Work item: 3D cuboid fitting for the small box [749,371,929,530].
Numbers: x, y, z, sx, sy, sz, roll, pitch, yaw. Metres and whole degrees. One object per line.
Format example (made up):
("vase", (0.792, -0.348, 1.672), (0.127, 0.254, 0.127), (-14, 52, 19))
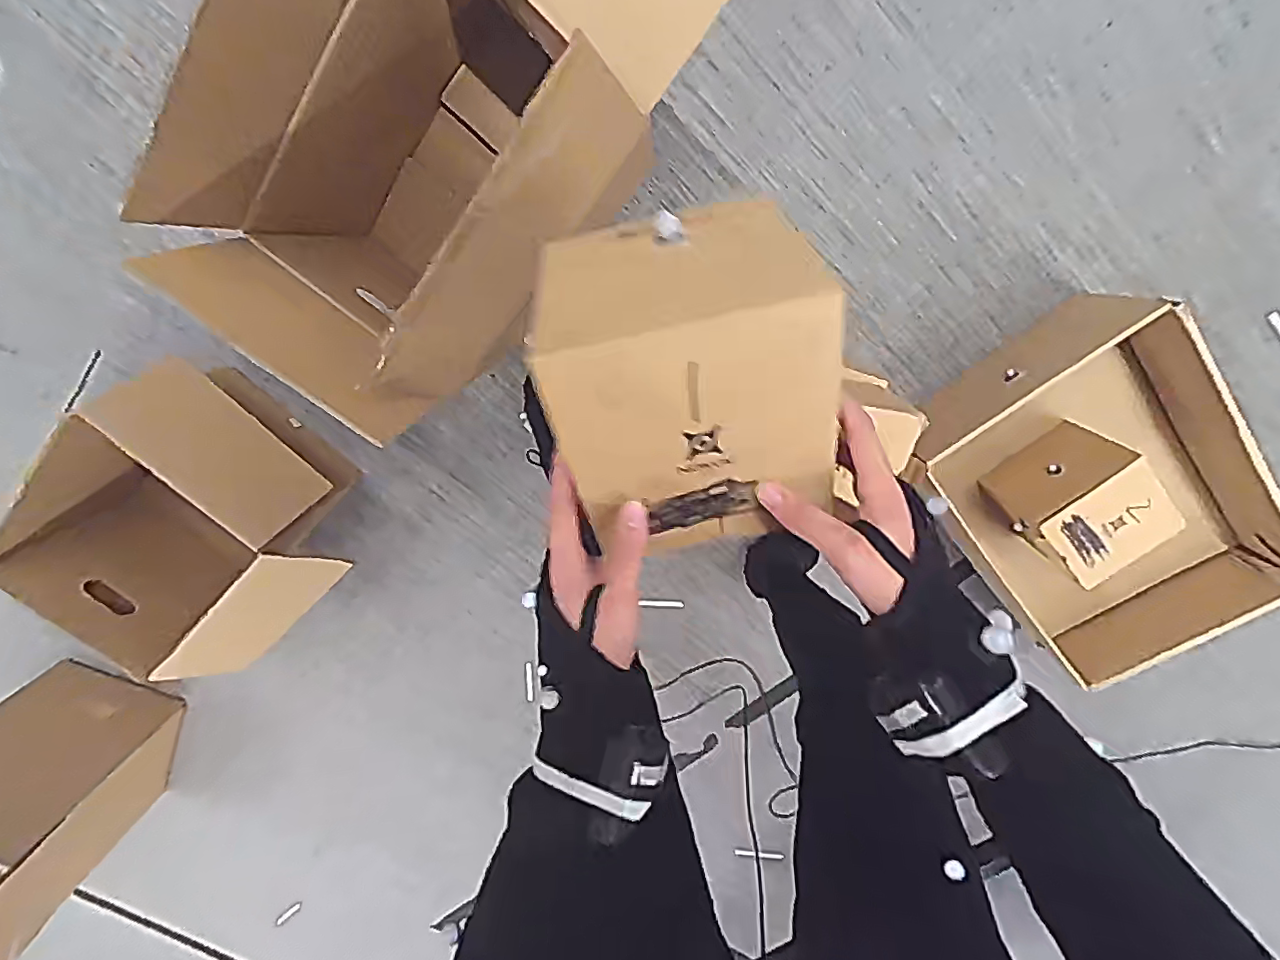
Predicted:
("small box", (0.264, -0.051, 0.771), (0.179, 0.176, 0.168), (10, 113, -2))
